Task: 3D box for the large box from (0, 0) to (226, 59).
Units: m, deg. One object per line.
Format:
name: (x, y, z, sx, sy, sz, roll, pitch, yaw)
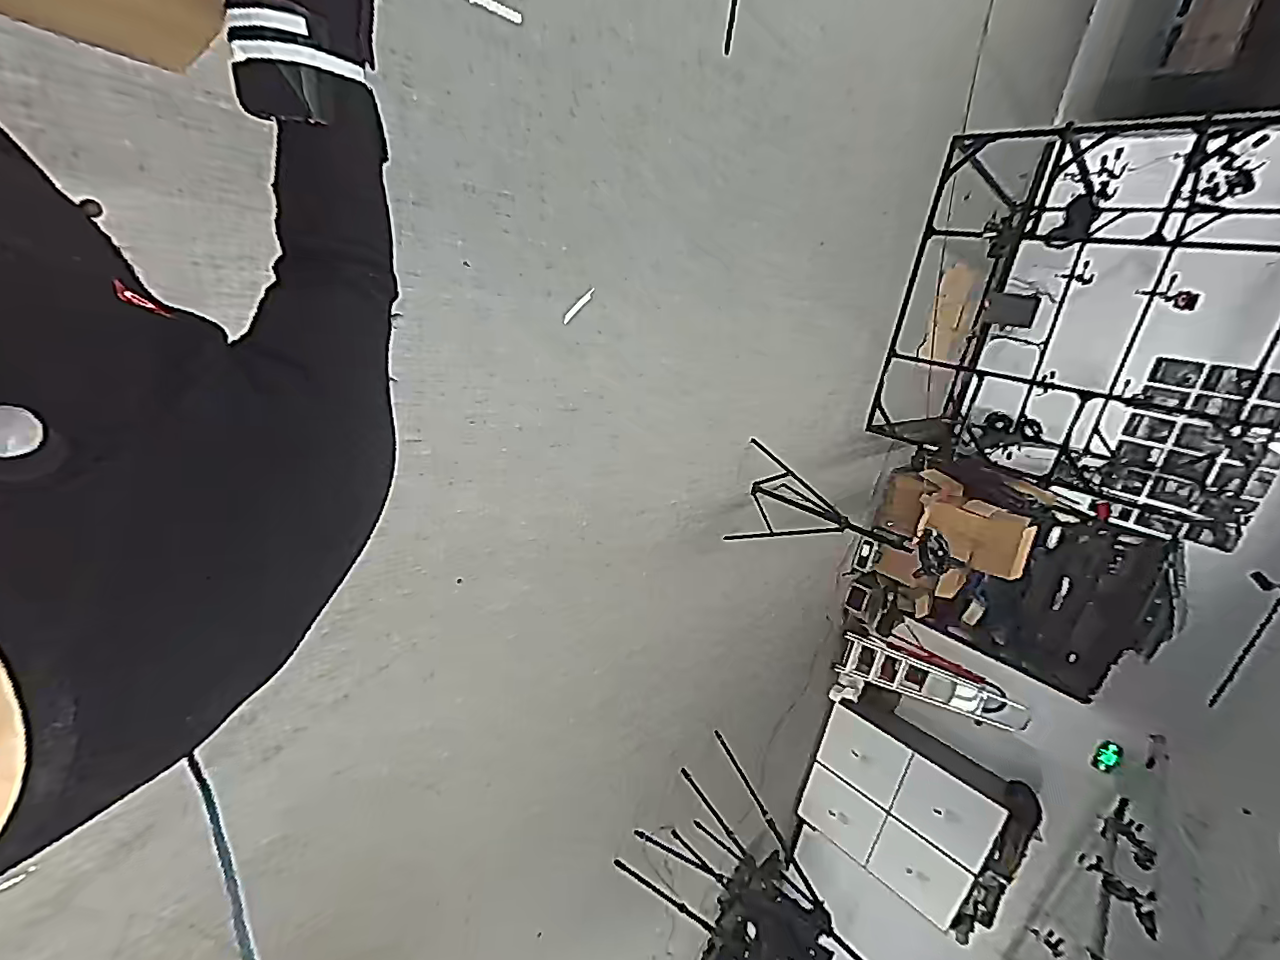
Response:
large box: (-0.458, -0.483, 0.248, 0.408, 0.320, 0.320, -9, 114, -46)
